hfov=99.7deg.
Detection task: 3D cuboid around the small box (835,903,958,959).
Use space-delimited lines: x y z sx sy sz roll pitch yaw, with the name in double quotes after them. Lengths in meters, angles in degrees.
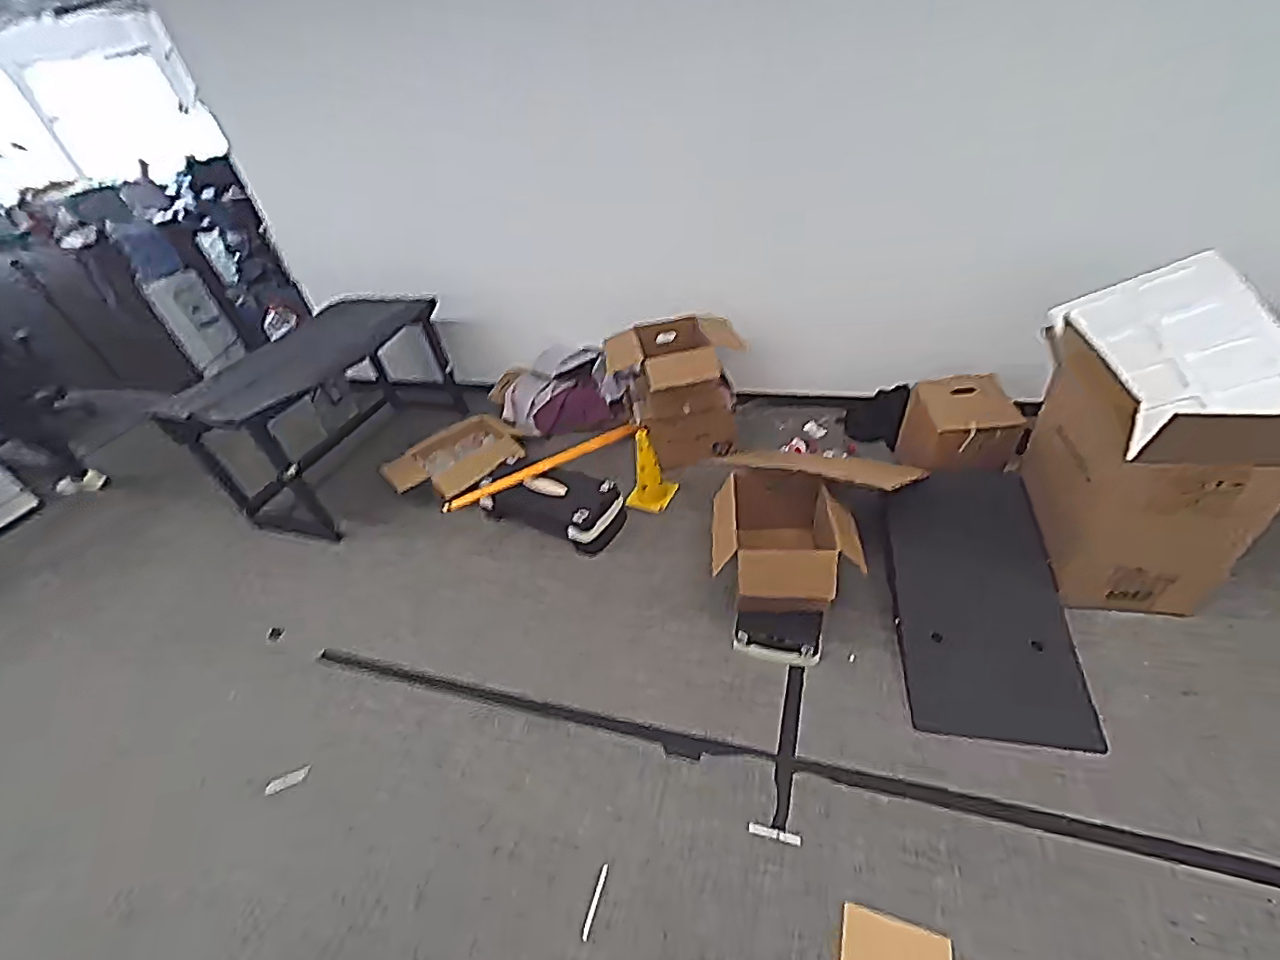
0.410 0.843 0.881 0.168 0.176 0.179 8 43 20 "small box"
